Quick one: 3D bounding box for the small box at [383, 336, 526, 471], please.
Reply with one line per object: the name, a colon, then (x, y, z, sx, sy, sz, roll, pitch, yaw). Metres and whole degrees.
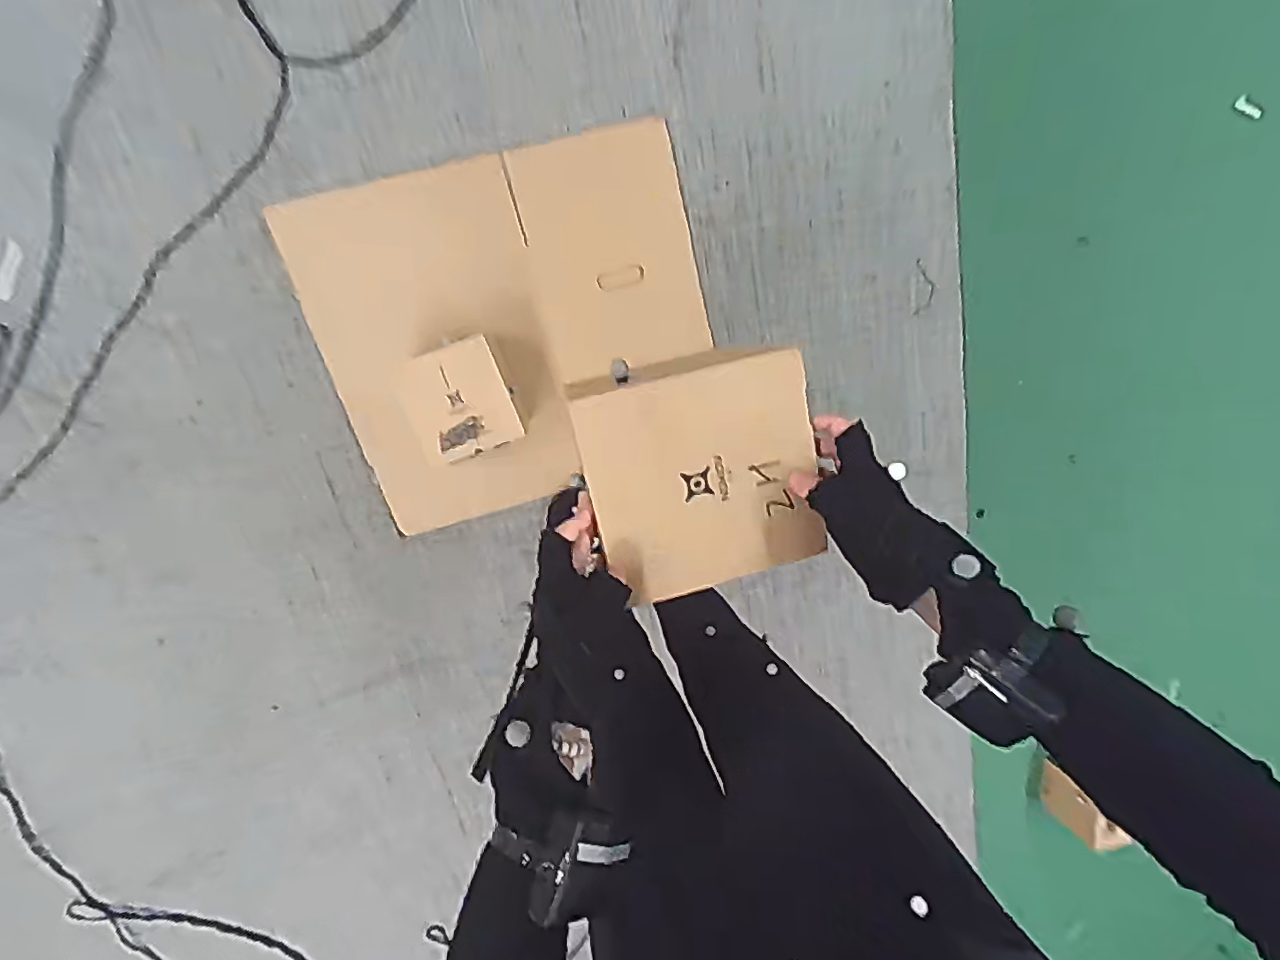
small box: (-0.303, -0.140, 0.931, 0.168, 0.176, 0.179, -22, 107, -4)

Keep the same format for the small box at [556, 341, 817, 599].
small box: (0.030, -0.022, 0.482, 0.179, 0.176, 0.168, -15, 106, -6)
